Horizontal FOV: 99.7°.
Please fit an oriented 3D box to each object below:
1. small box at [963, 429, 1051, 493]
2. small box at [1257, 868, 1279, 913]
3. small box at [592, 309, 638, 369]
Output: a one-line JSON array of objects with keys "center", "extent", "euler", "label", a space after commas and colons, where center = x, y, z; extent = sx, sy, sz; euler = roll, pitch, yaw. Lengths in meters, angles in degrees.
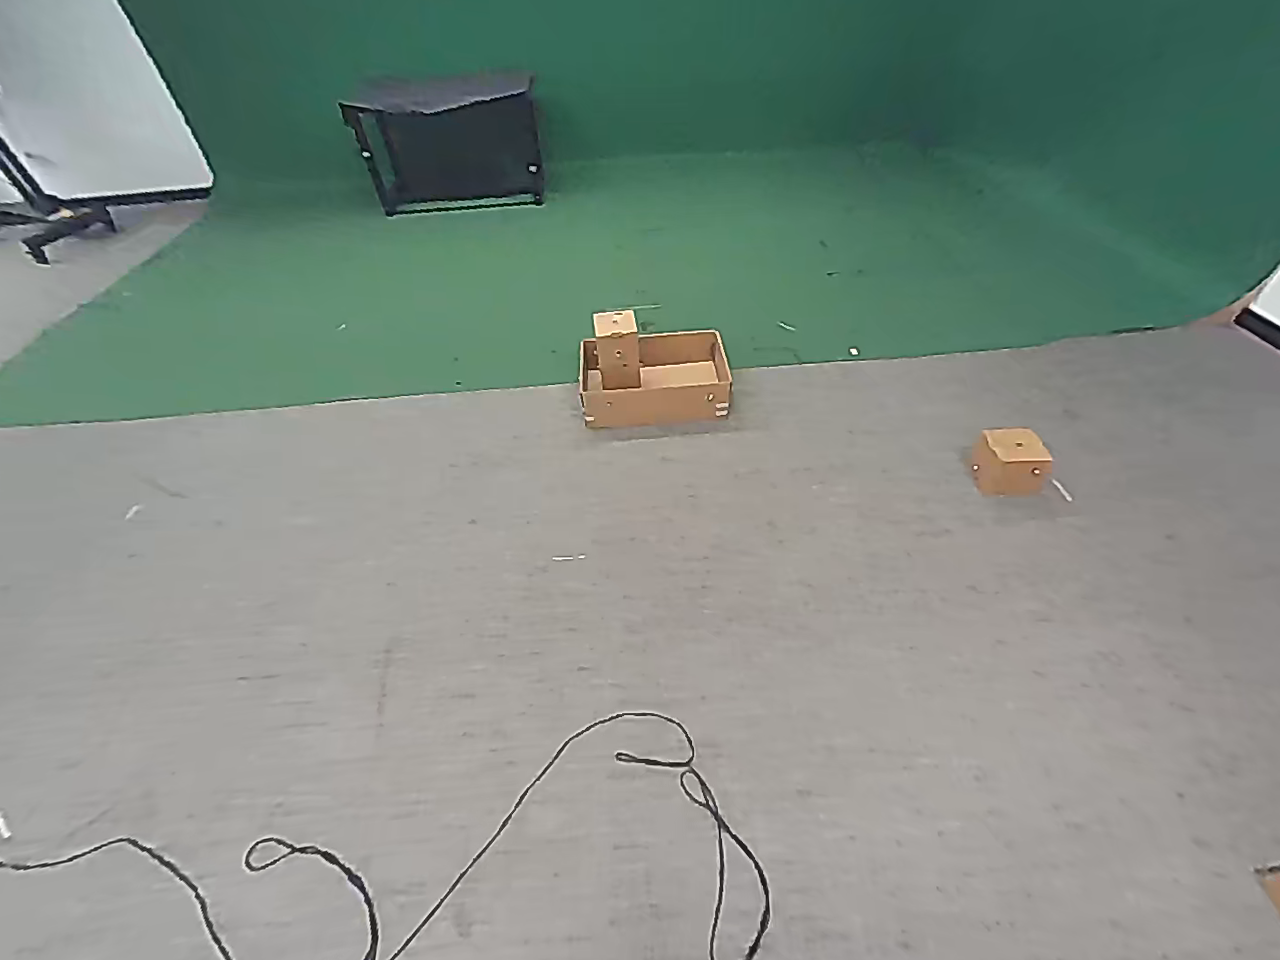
[{"center": [1.295, -0.065, 1.920], "extent": [0.179, 0.176, 0.168], "euler": [-1, 46, 3], "label": "small box"}, {"center": [1.400, 0.852, 1.047], "extent": [0.168, 0.176, 0.179], "euler": [-4, 46, 0], "label": "small box"}, {"center": [-0.101, -0.565, 2.192], "extent": [0.168, 0.176, 0.179], "euler": [-7, 48, -2], "label": "small box"}]
